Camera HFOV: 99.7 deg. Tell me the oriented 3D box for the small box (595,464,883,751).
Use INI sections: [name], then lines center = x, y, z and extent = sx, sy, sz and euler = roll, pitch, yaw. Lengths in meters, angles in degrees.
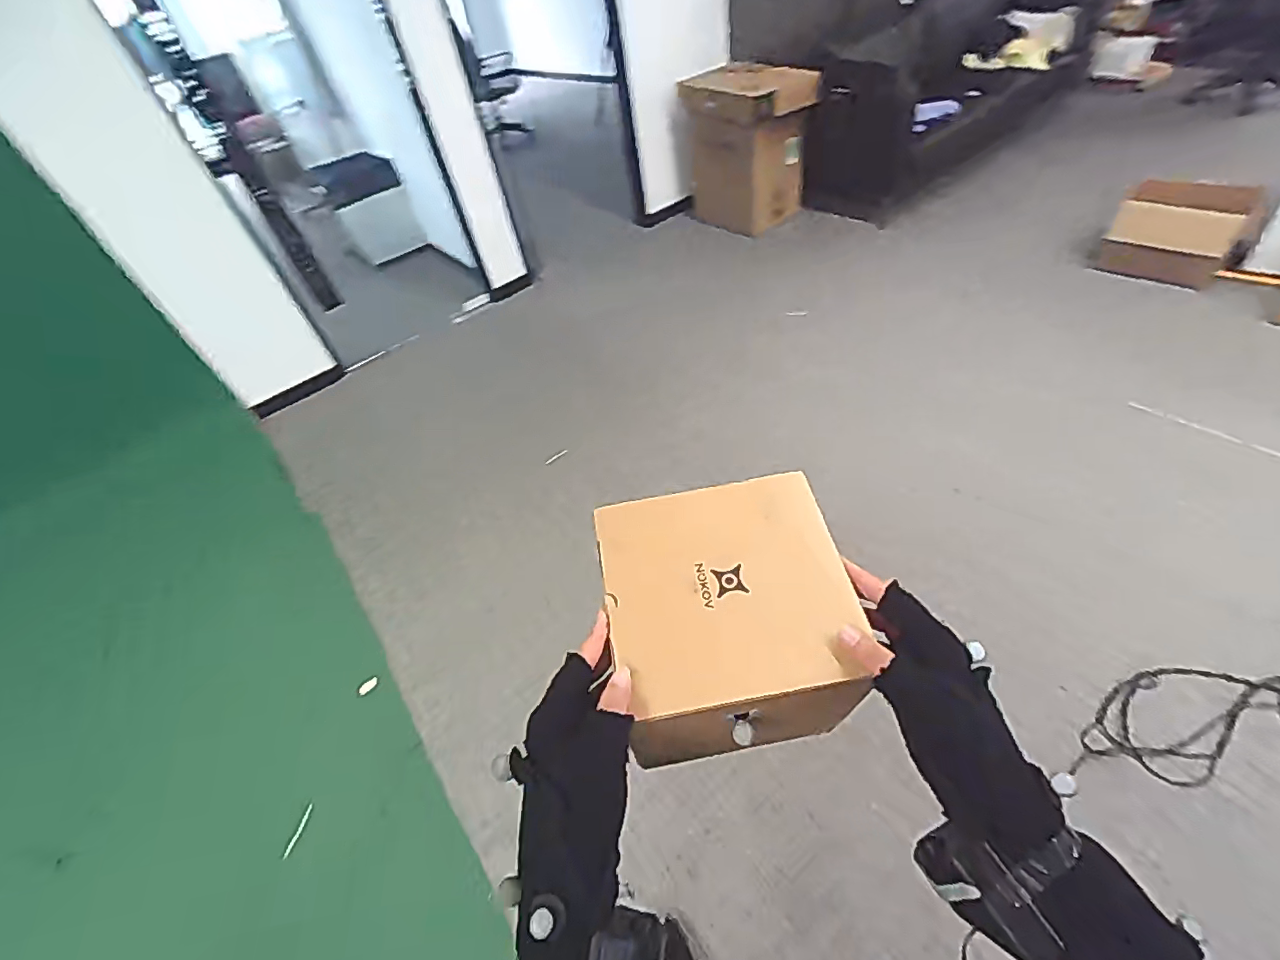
[small box]
center = 0.066, 0.112, 0.452
extent = 0.179, 0.176, 0.168
euler = -10, 53, 0
